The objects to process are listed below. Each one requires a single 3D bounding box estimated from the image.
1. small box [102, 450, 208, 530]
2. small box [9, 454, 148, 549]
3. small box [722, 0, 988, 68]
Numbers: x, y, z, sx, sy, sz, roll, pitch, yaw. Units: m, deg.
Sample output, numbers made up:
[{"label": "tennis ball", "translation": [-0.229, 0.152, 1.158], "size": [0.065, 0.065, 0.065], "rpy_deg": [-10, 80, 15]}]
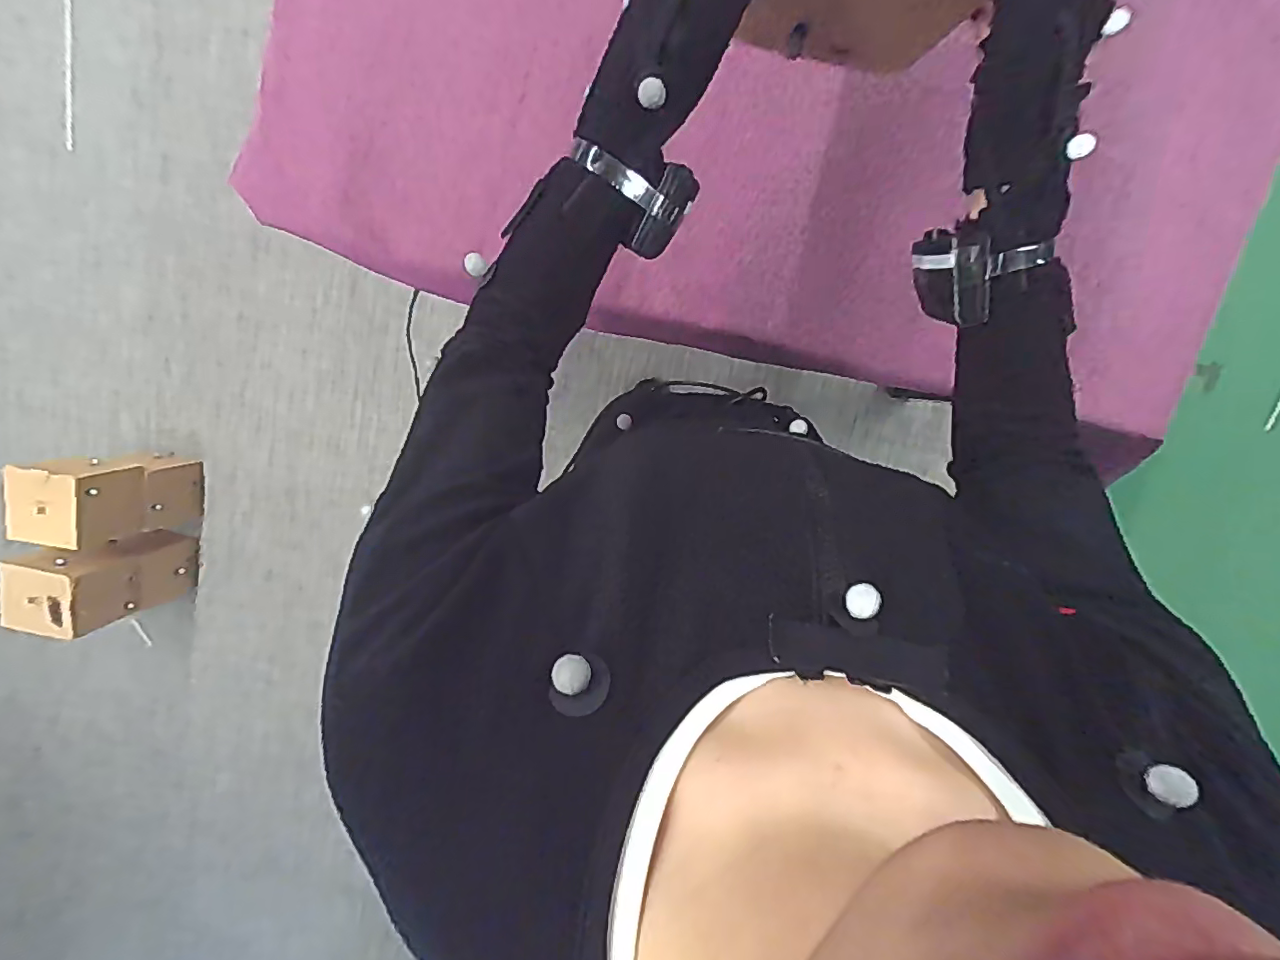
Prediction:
[{"label": "small box", "translation": [-1.319, 0.020, 1.454], "size": [0.179, 0.176, 0.168], "rpy_deg": [10, 102, 1]}, {"label": "small box", "translation": [-1.329, 0.045, 1.293], "size": [0.168, 0.176, 0.179], "rpy_deg": [9, 101, 0]}, {"label": "small box", "translation": [0.152, -0.400, 0.331], "size": [0.168, 0.176, 0.179], "rpy_deg": [10, 109, -2]}]
